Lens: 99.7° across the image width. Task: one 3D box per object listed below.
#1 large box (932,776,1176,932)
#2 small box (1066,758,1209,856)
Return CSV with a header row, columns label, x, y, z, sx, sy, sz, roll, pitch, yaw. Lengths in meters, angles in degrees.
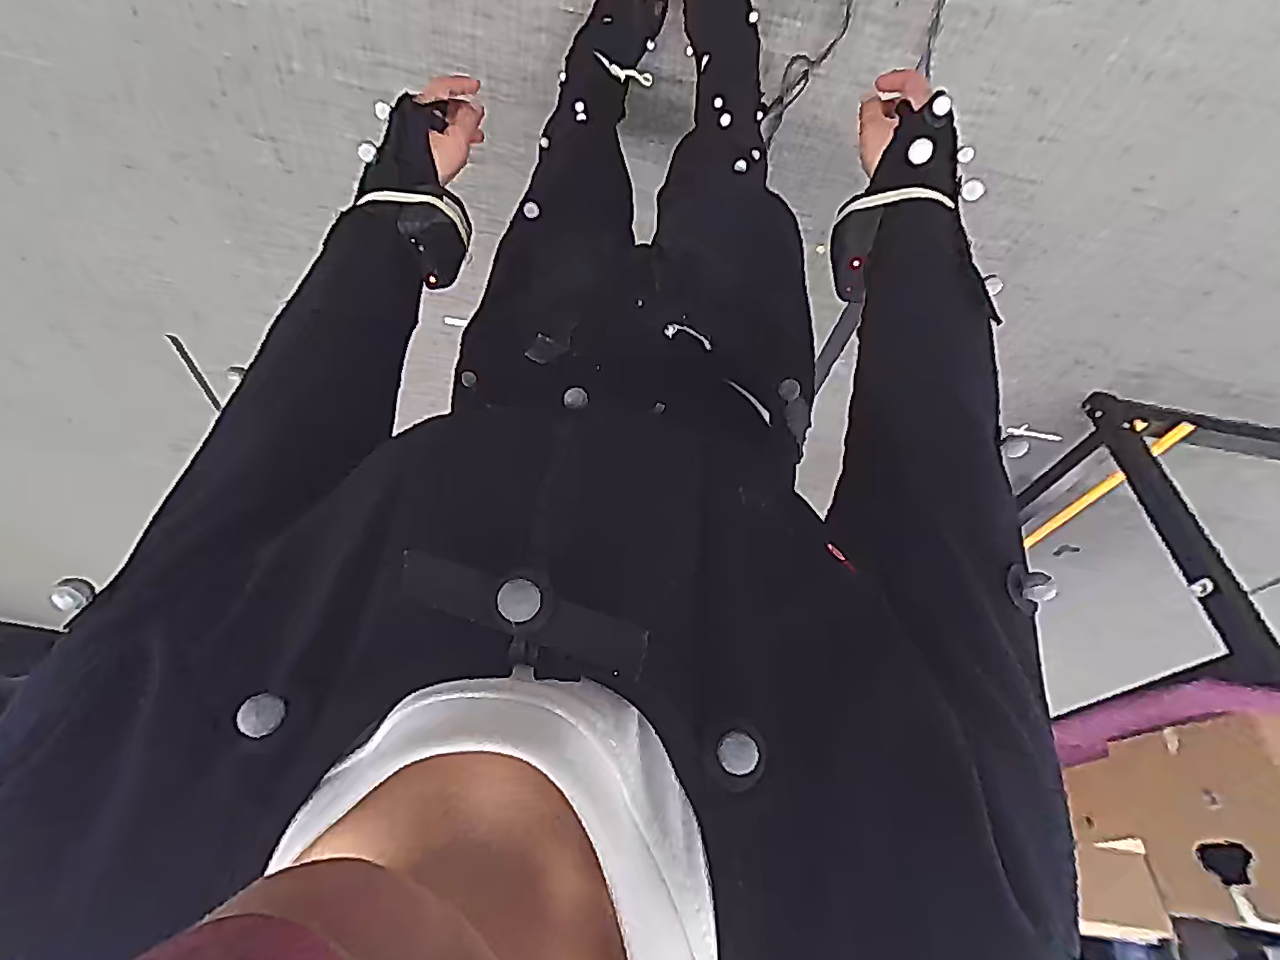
label,x,y,z,sx,sy,sz,roll,pitch,yaw
large box,1.142,1.072,1.555,0.408,0.320,0.320,9,142,-3
small box,1.187,0.794,1.313,0.168,0.176,0.179,10,141,-2
